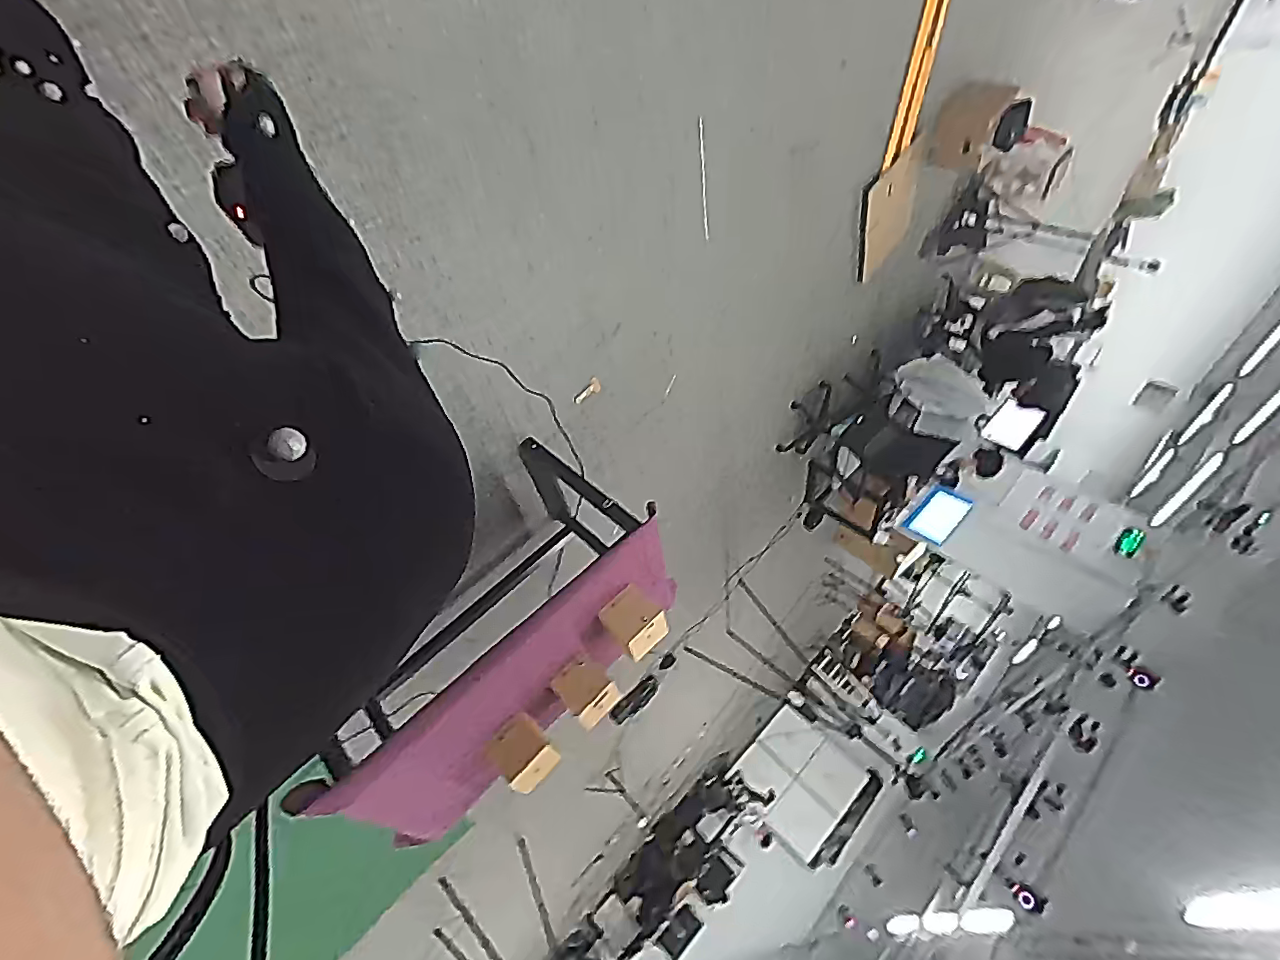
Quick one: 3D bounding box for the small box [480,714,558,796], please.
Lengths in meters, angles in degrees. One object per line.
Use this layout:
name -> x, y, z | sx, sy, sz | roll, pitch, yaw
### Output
small box -> -0.409, 0.928, 1.831 | 0.168, 0.176, 0.179 | -42, 145, -21

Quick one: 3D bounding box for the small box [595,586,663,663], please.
small box -> -0.039, 0.513, 1.933 | 0.168, 0.176, 0.179 | -40, 145, -22

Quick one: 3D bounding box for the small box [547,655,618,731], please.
small box -> -0.207, 0.756, 1.936 | 0.168, 0.176, 0.179 | -41, 146, -21
